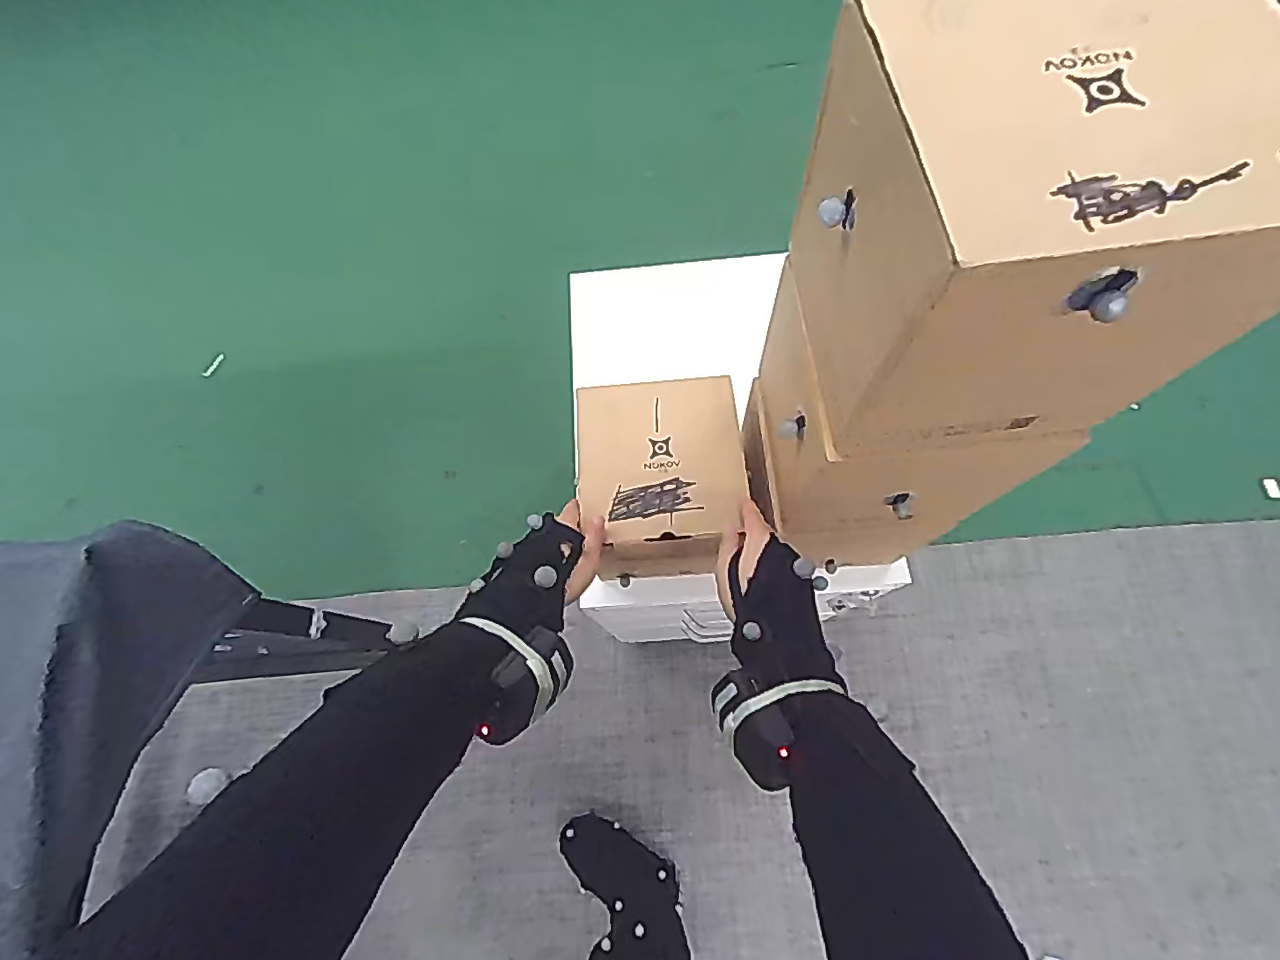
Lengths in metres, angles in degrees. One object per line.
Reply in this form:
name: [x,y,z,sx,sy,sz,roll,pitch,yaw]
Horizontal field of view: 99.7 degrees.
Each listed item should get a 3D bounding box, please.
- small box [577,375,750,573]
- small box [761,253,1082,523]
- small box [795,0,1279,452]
small box: [0.023,0.004,0.608,0.168,0.176,0.179,-4,68,0]
small box: [0.202,-0.067,0.449,0.168,0.176,0.179,-4,68,2]
small box: [0.195,-0.133,0.300,0.168,0.176,0.179,-6,68,2]
